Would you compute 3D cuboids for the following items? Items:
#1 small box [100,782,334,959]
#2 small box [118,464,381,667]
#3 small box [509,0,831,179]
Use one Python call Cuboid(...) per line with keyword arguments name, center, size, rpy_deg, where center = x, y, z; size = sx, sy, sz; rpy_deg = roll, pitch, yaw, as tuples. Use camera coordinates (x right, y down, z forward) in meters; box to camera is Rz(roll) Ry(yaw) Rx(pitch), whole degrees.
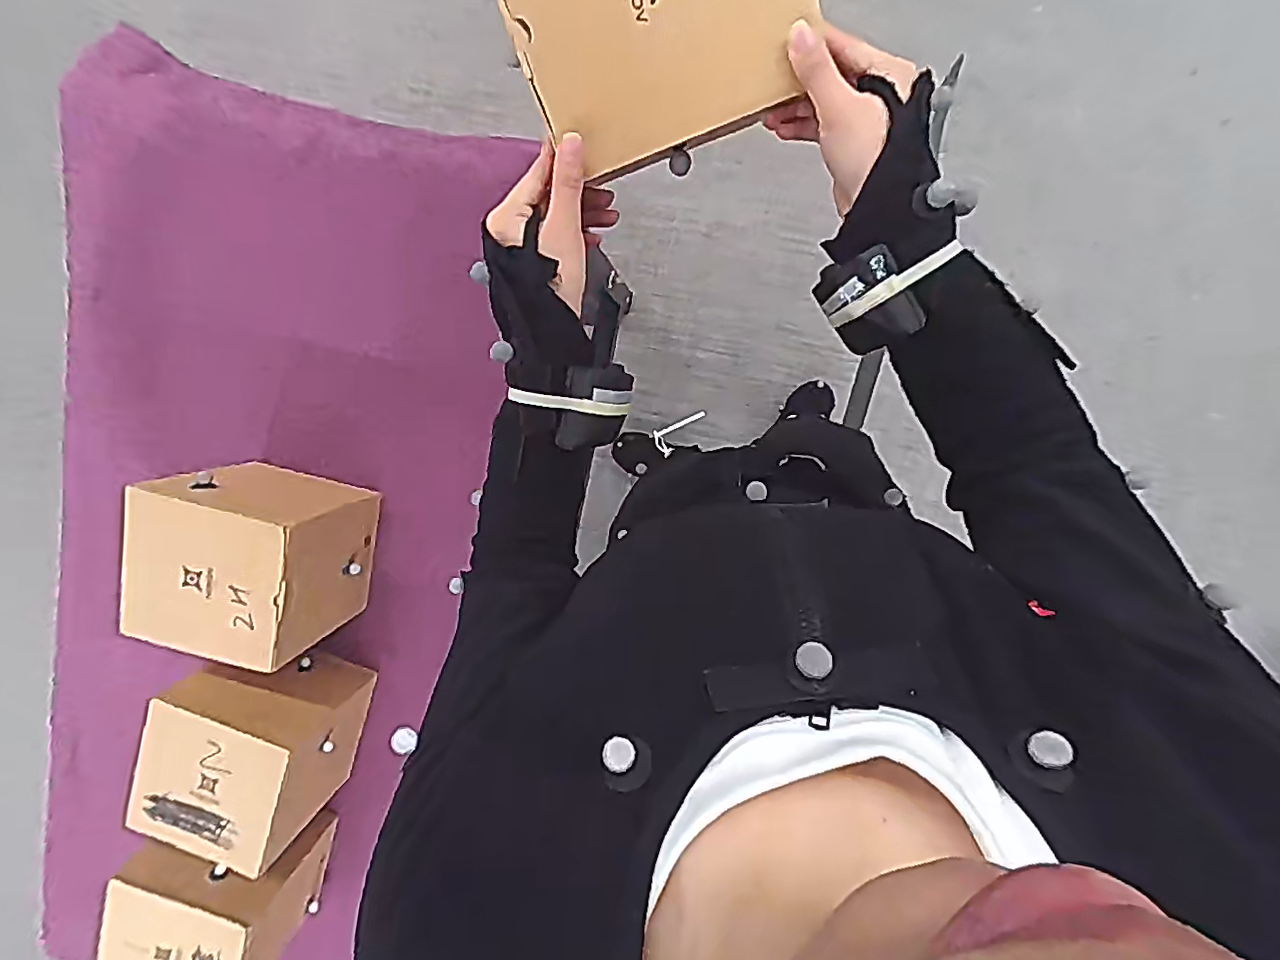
Cuboid(name="small box", center=(-0.544, 0.542, 0.715), size=(0.179, 0.176, 0.168), rpy_deg=(18, 100, 1))
Cuboid(name="small box", center=(-0.438, 0.084, 0.627), size=(0.179, 0.176, 0.168), rpy_deg=(14, 101, 3))
Cuboid(name="small box", center=(0.005, -0.326, 0.372), size=(0.179, 0.176, 0.168), rpy_deg=(-19, 117, 5))
